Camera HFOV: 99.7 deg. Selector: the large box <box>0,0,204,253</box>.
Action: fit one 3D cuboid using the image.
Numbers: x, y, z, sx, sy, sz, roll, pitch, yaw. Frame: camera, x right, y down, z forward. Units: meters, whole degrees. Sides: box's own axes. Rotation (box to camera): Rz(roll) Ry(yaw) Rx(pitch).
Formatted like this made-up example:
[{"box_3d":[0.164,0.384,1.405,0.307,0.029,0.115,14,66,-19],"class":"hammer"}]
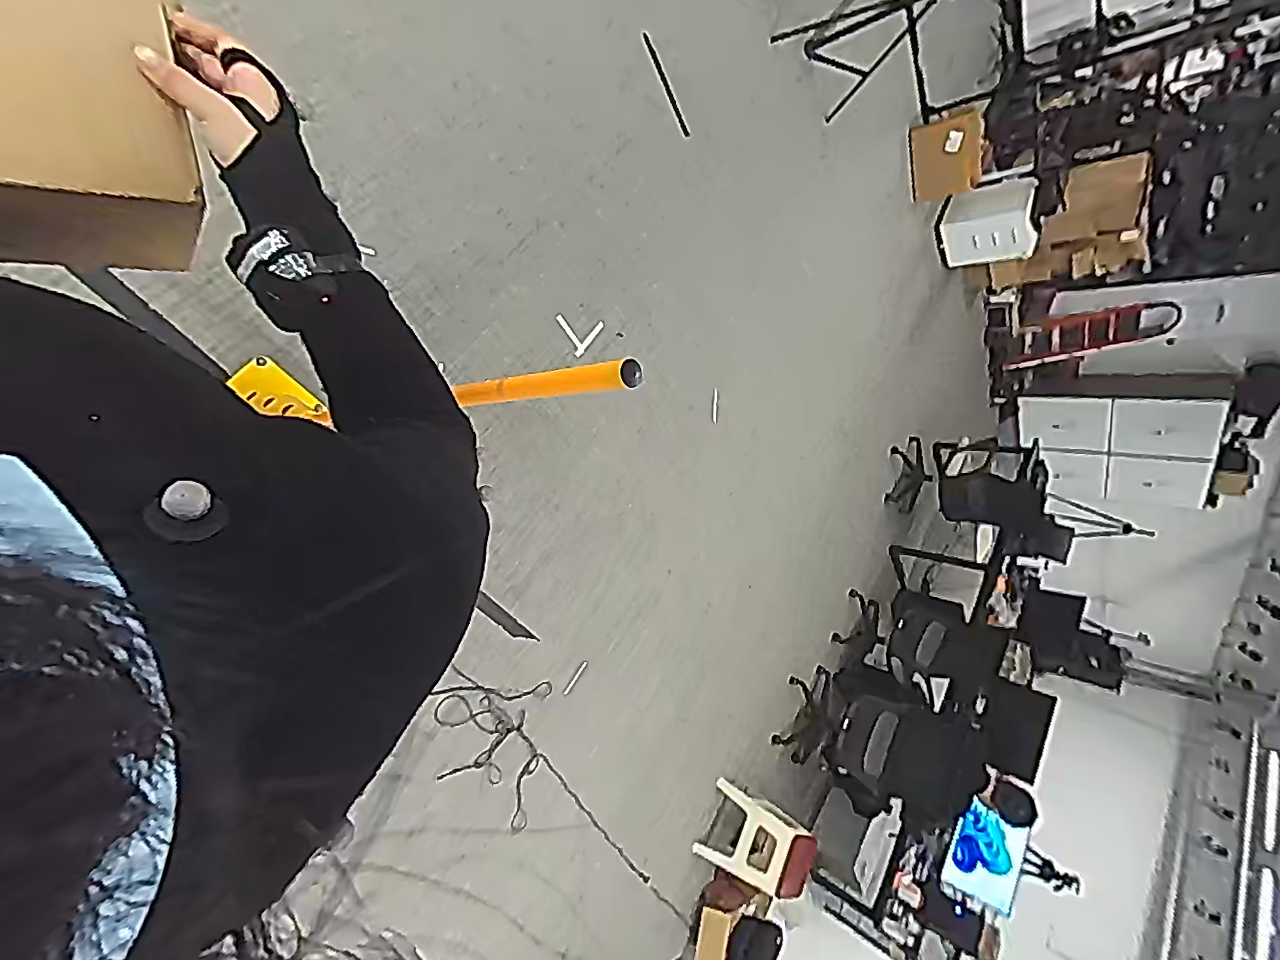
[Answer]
[{"box_3d":[-0.592,-0.353,0.371,0.408,0.320,0.320,-13,105,-39],"class":"large box"}]
